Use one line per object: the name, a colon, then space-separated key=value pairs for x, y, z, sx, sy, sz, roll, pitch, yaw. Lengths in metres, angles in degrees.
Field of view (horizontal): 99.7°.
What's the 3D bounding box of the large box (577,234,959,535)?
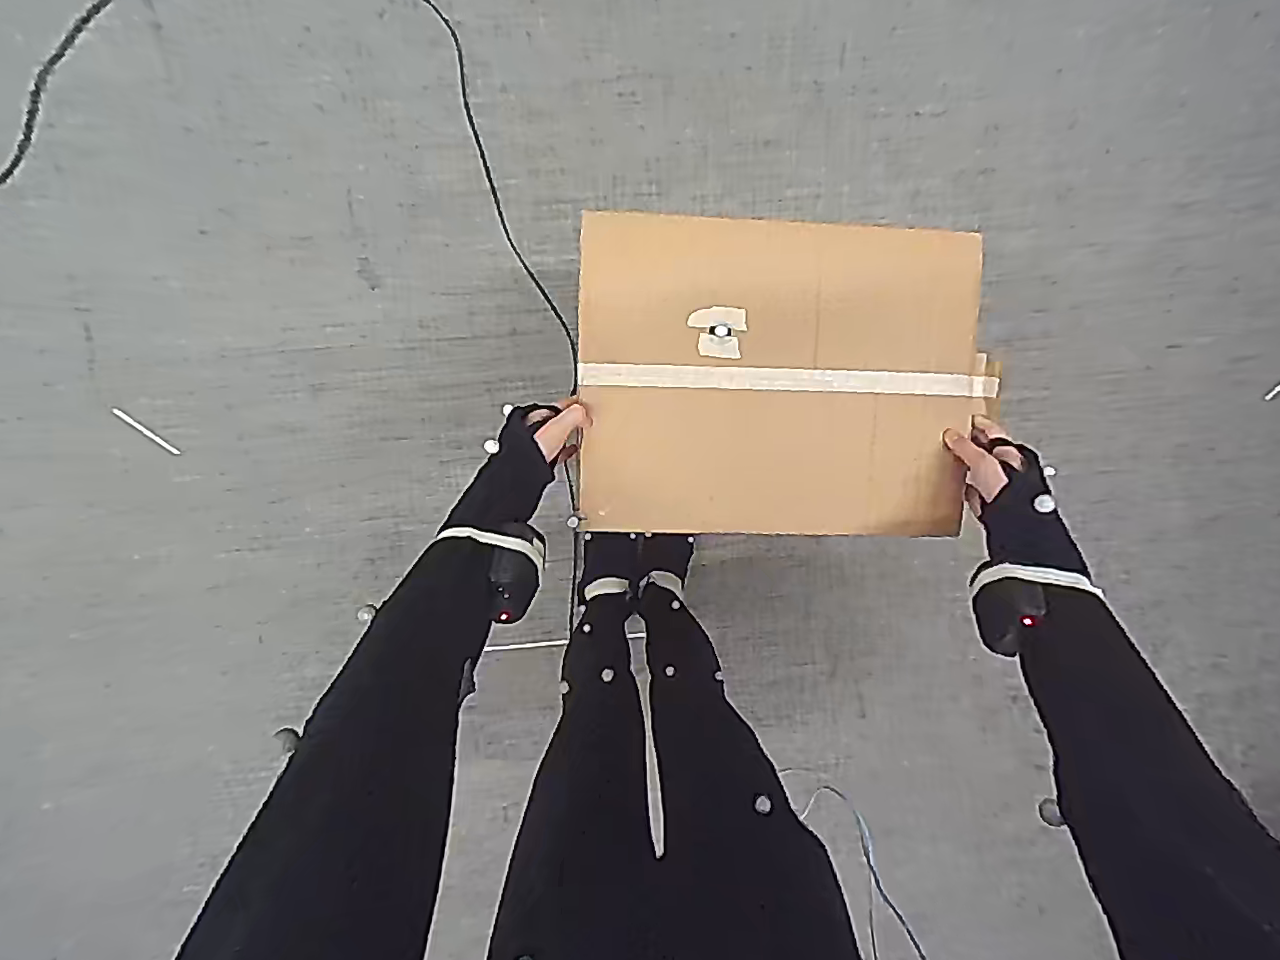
large box: x=0.128 y=-0.110 z=0.714 sx=0.408 sy=0.320 sz=0.320 roll=1 pitch=95 yaw=-3
